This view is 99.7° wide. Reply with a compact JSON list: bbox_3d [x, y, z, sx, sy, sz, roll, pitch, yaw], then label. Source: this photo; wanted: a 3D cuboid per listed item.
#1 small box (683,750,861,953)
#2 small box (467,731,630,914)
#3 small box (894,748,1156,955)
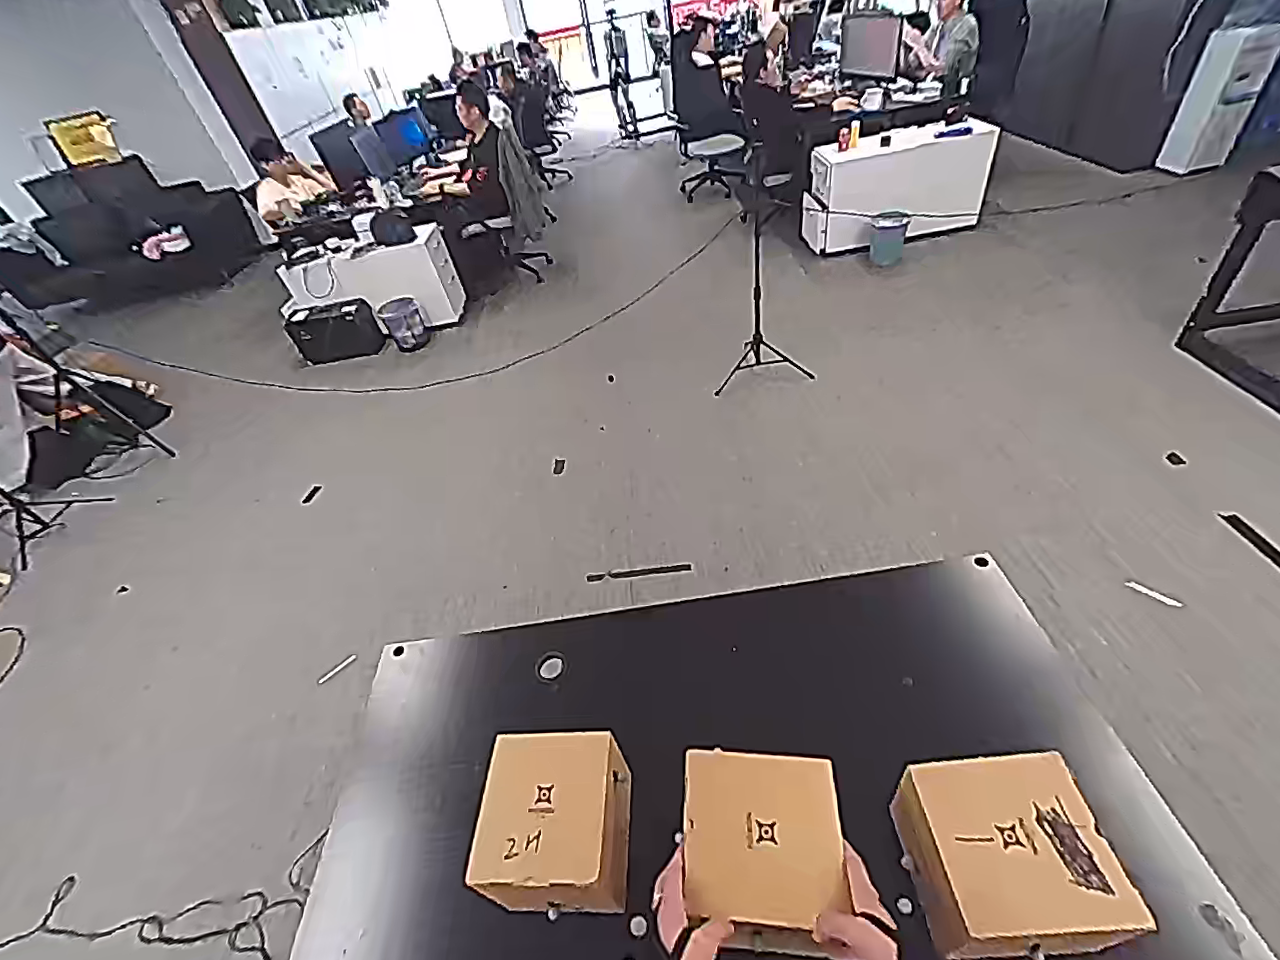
[{"bbox_3d":[0.141,0.444,0.647,0.179,0.176,0.168,0,43,6],"label":"small box"},{"bbox_3d":[-0.109,0.468,0.741,0.168,0.176,0.179,-6,43,8],"label":"small box"},{"bbox_3d":[0.424,0.438,0.637,0.179,0.176,0.168,-9,42,6],"label":"small box"}]
